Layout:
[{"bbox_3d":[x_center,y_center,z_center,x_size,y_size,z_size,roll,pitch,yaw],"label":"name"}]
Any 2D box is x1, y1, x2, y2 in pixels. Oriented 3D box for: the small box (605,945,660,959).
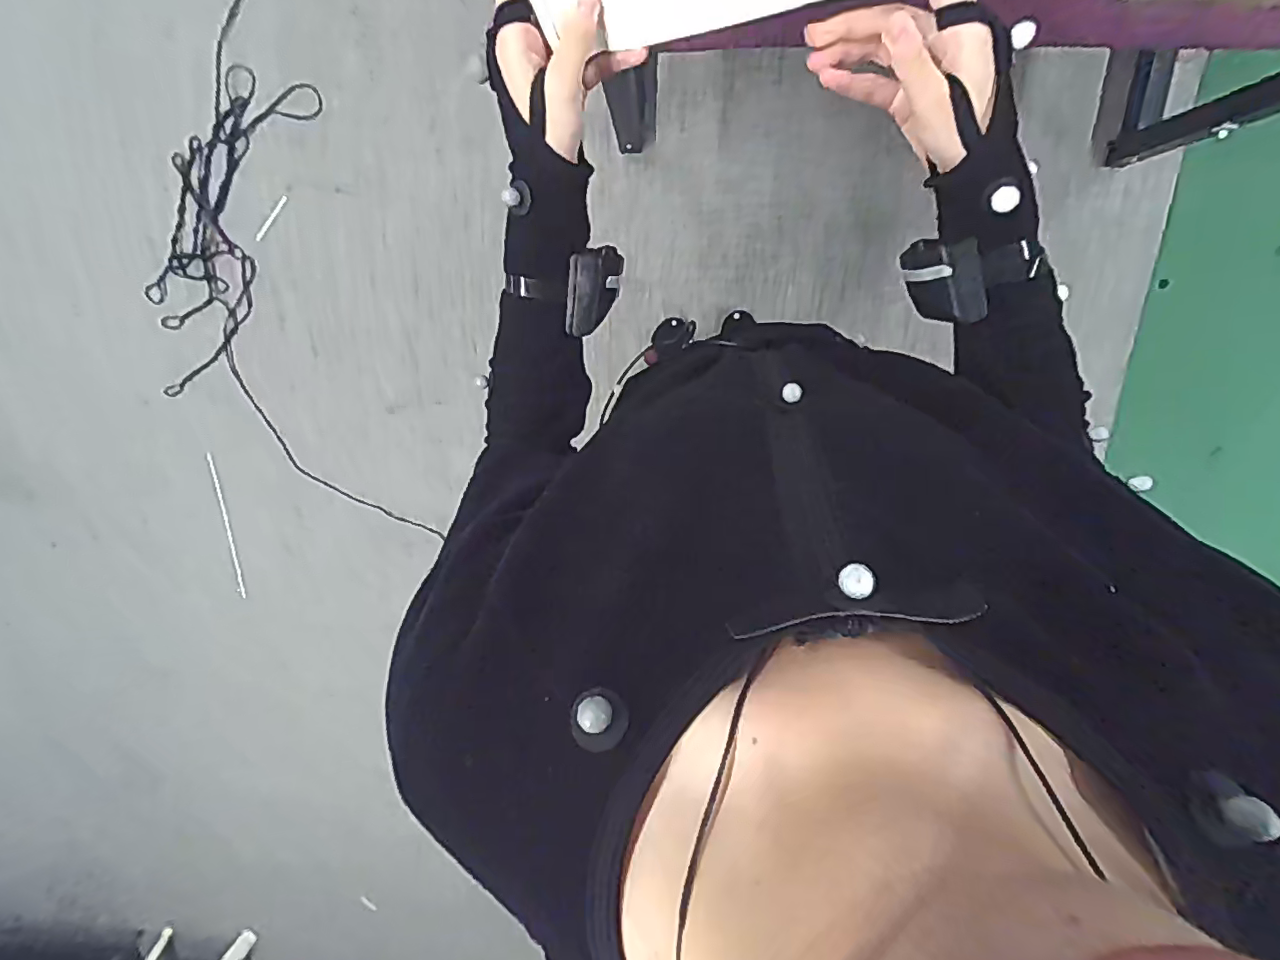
[{"bbox_3d":[-0.037,1.483,1.532,0.168,0.176,0.179,19,107,-2],"label":"small box"}]
